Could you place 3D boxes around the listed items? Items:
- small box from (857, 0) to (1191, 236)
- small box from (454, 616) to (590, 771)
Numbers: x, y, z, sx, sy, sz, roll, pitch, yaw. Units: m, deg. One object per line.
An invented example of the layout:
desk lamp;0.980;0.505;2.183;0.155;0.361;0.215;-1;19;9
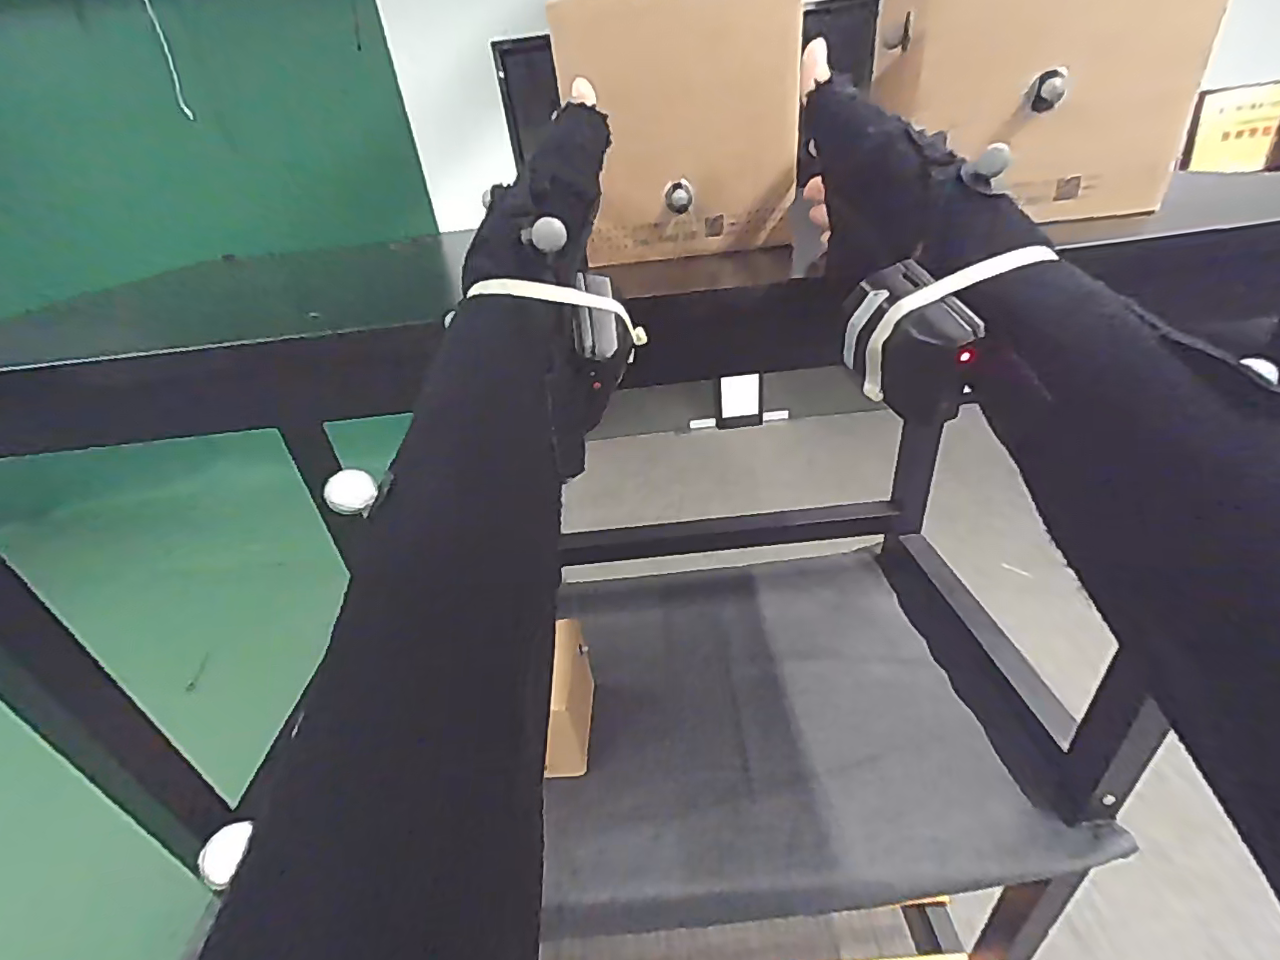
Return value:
small box;0.276;-0.295;0.426;0.168;0.176;0.179;0;31;12
small box;-0.177;0.349;0.877;0.168;0.176;0.179;-5;30;3
